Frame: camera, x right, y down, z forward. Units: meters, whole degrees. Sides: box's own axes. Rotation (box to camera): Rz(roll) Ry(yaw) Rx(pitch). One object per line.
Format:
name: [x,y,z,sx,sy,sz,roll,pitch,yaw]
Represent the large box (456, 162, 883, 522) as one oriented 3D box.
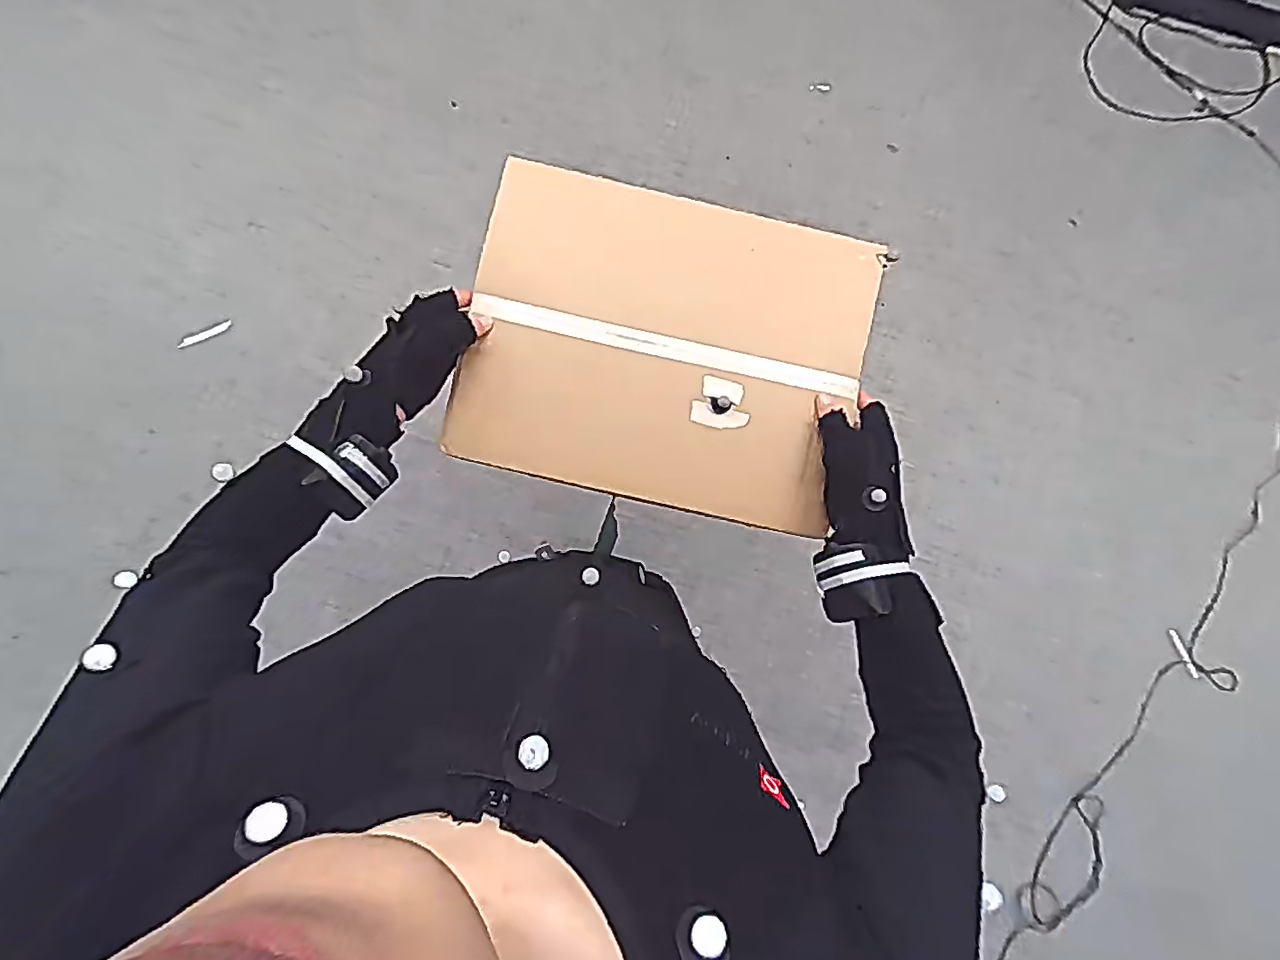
large box: [0.027,-0.138,0.707,0.408,0.320,0.320,12,89,-2]
